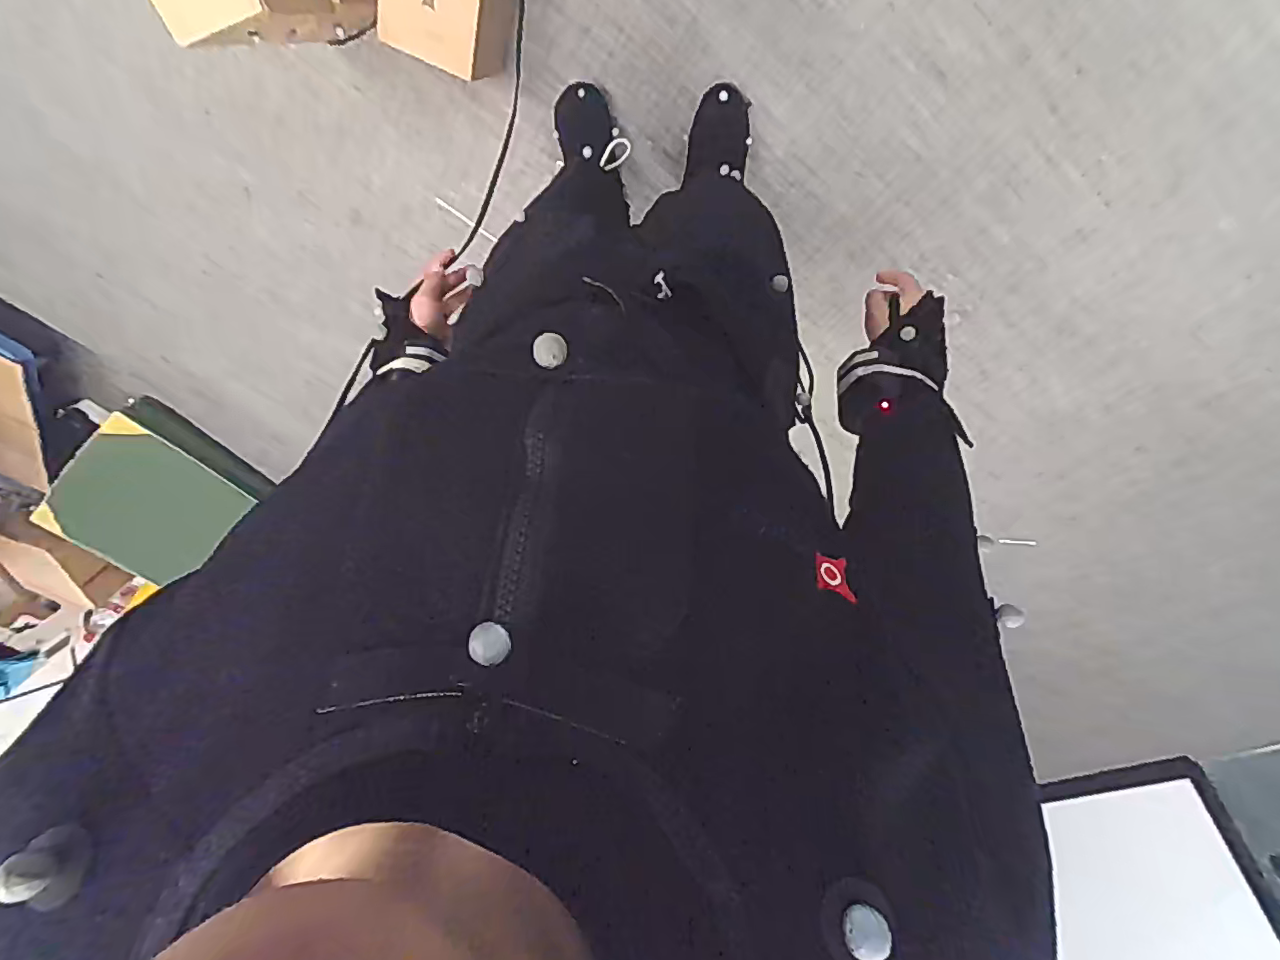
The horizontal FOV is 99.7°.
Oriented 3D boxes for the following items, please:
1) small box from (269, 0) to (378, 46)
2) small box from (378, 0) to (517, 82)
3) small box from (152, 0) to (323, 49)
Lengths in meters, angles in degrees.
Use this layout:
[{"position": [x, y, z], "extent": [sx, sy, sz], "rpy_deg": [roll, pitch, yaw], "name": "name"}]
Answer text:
[{"position": [-0.568, -0.872, 0.908], "extent": [0.168, 0.176, 0.179], "rpy_deg": [-8, 128, 20], "name": "small box"}, {"position": [-0.316, -0.810, 0.908], "extent": [0.168, 0.176, 0.179], "rpy_deg": [22, 132, -5], "name": "small box"}, {"position": [-0.605, -0.761, 0.790], "extent": [0.179, 0.176, 0.168], "rpy_deg": [-4, 129, 17], "name": "small box"}]
